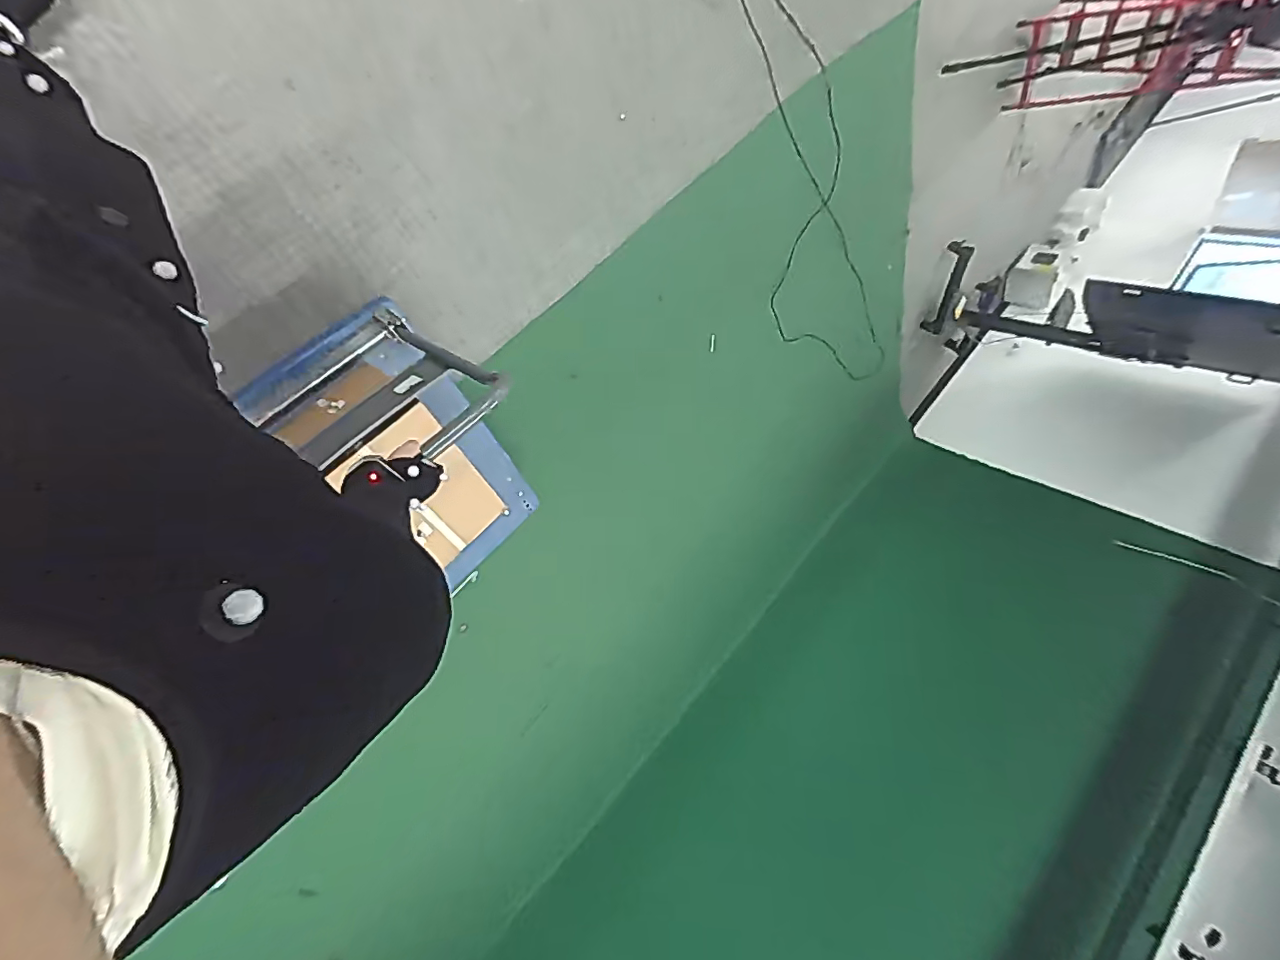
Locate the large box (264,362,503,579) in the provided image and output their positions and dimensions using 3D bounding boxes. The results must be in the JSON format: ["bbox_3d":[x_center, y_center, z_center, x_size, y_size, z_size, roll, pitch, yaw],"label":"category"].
[{"bbox_3d":[-0.636,-0.025,1.377,0.320,0.320,0.408,-45,140,-17],"label":"large box"}]
